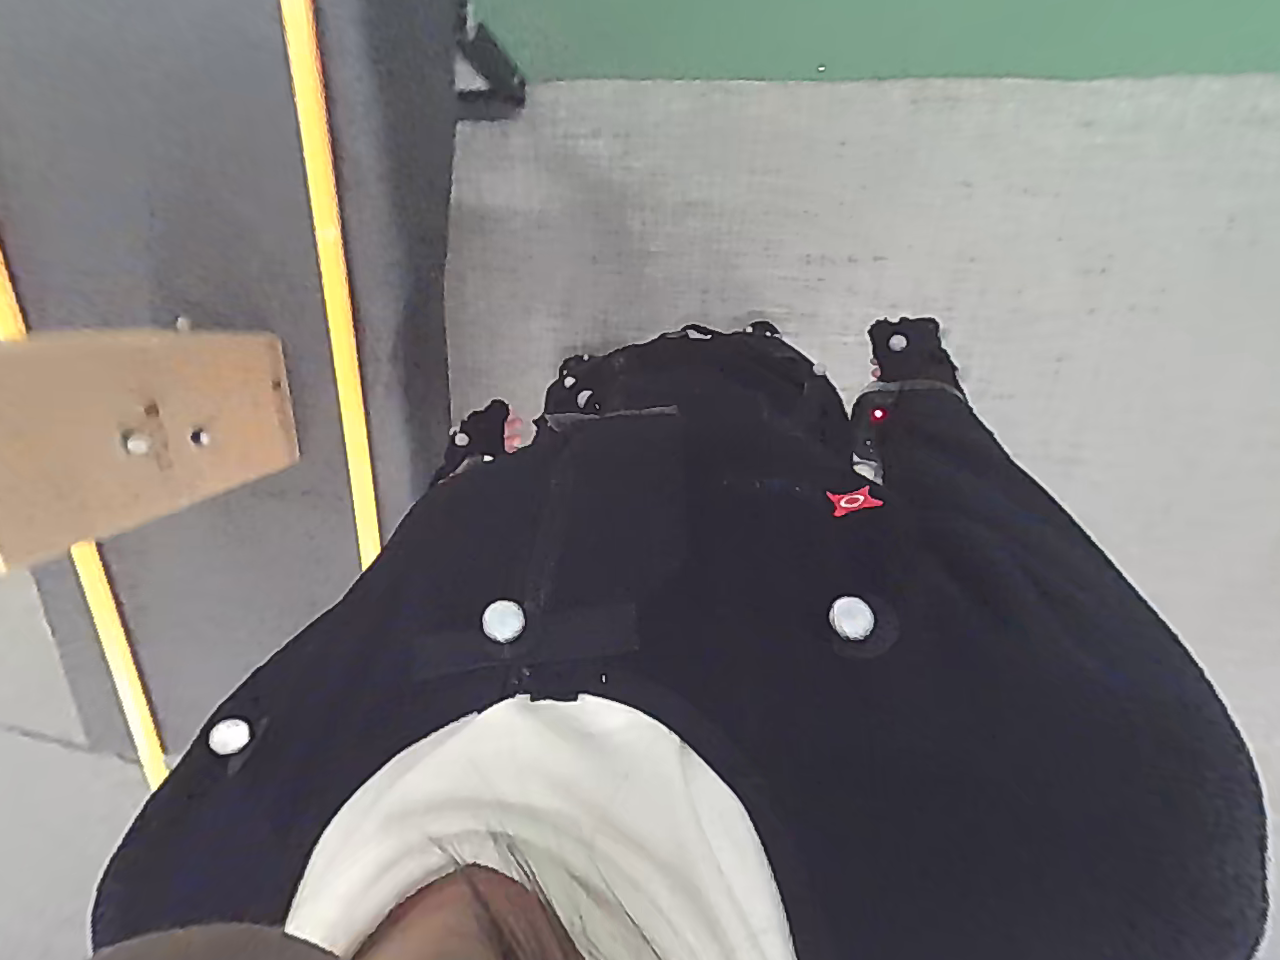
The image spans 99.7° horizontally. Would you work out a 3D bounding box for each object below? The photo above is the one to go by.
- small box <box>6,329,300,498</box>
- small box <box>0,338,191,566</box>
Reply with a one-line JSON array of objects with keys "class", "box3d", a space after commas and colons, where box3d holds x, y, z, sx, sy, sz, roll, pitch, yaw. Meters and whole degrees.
[{"class": "small box", "box3d": [-0.546, -0.087, 0.634, 0.179, 0.176, 0.168, 3, 108, 5]}, {"class": "small box", "box3d": [-0.561, -0.036, 0.477, 0.179, 0.176, 0.168, 2, 107, 4]}]
